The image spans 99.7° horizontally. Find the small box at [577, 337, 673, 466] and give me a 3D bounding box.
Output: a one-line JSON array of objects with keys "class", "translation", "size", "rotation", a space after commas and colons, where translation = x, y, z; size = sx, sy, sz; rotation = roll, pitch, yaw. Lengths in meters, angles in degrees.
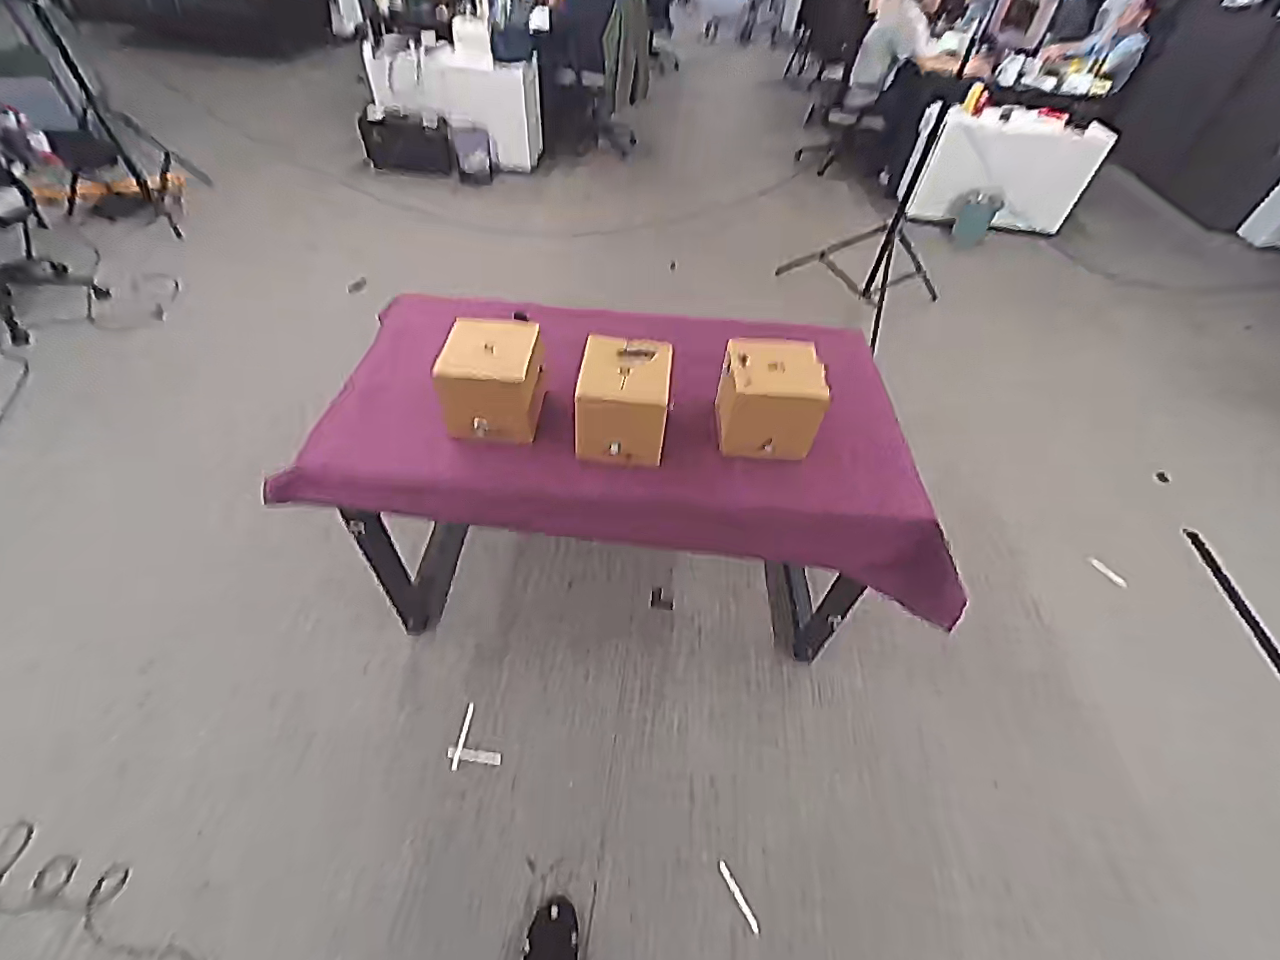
[{"class": "small box", "translation": [-0.030, -0.153, 1.060], "size": [0.168, 0.176, 0.179], "rotation": [6, 49, 0]}]

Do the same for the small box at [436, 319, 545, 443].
[{"class": "small box", "translation": [-0.285, -0.196, 1.076], "size": [0.168, 0.176, 0.179], "rotation": [3, 49, -1]}]

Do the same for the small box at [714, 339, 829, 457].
[{"class": "small box", "translation": [0.256, -0.163, 1.095], "size": [0.179, 0.176, 0.168], "rotation": [3, 48, -3]}]
